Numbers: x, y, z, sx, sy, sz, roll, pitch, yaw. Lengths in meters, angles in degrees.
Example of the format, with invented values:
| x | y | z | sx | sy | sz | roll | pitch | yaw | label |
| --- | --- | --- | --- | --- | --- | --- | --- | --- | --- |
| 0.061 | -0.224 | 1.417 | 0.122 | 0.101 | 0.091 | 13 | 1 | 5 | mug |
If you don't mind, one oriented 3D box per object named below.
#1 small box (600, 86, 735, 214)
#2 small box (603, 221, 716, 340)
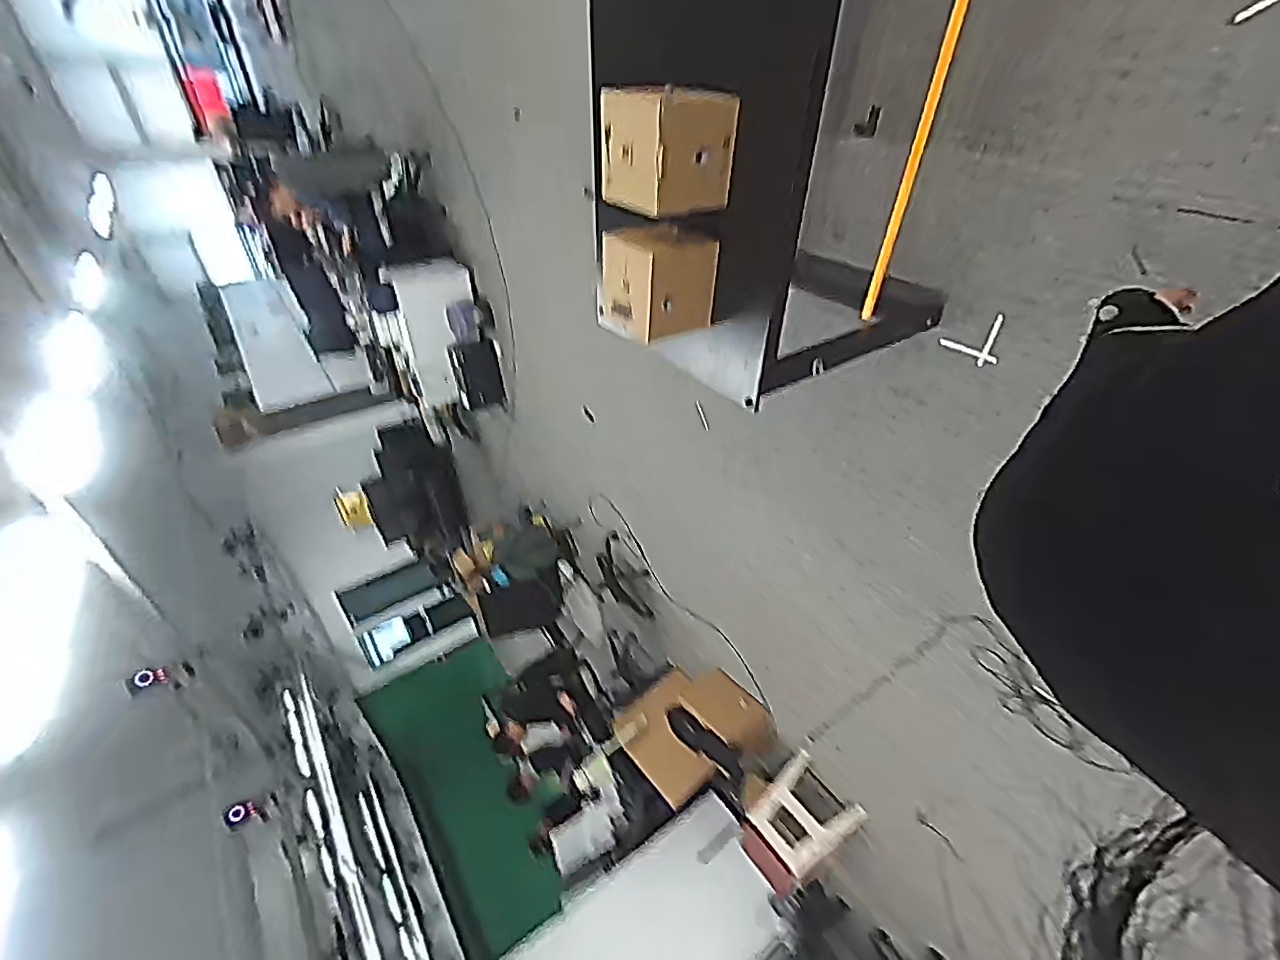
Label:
| x | y | z | sx | sy | sz | roll | pitch | yaw | label |
| --- | --- | --- | --- | --- | --- | --- | --- | --- | --- |
| 0.047 | -0.593 | 0.963 | 0.179 | 0.176 | 0.168 | 41 | 144 | 37 | small box |
| 0.038 | -0.414 | 1.112 | 0.168 | 0.176 | 0.179 | 41 | 142 | 38 | small box |
